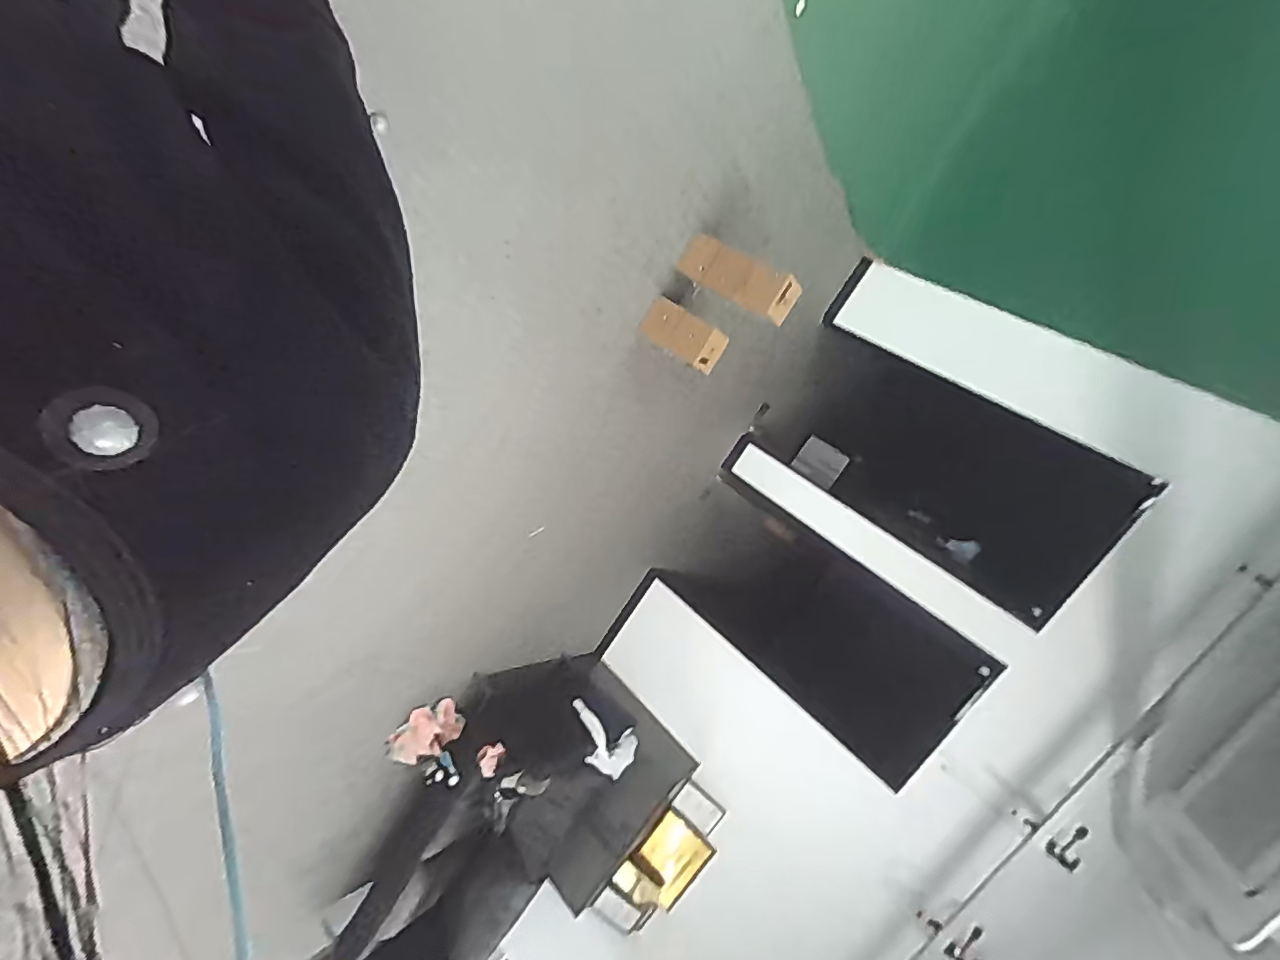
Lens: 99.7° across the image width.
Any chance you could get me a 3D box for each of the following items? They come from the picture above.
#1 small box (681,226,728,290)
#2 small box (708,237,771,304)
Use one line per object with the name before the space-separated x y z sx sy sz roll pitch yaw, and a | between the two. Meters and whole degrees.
small box | 0.298 -0.950 2.310 0.168 0.176 0.179 8 115 -57
small box | 0.403 -0.861 2.222 0.168 0.176 0.179 9 114 -58
